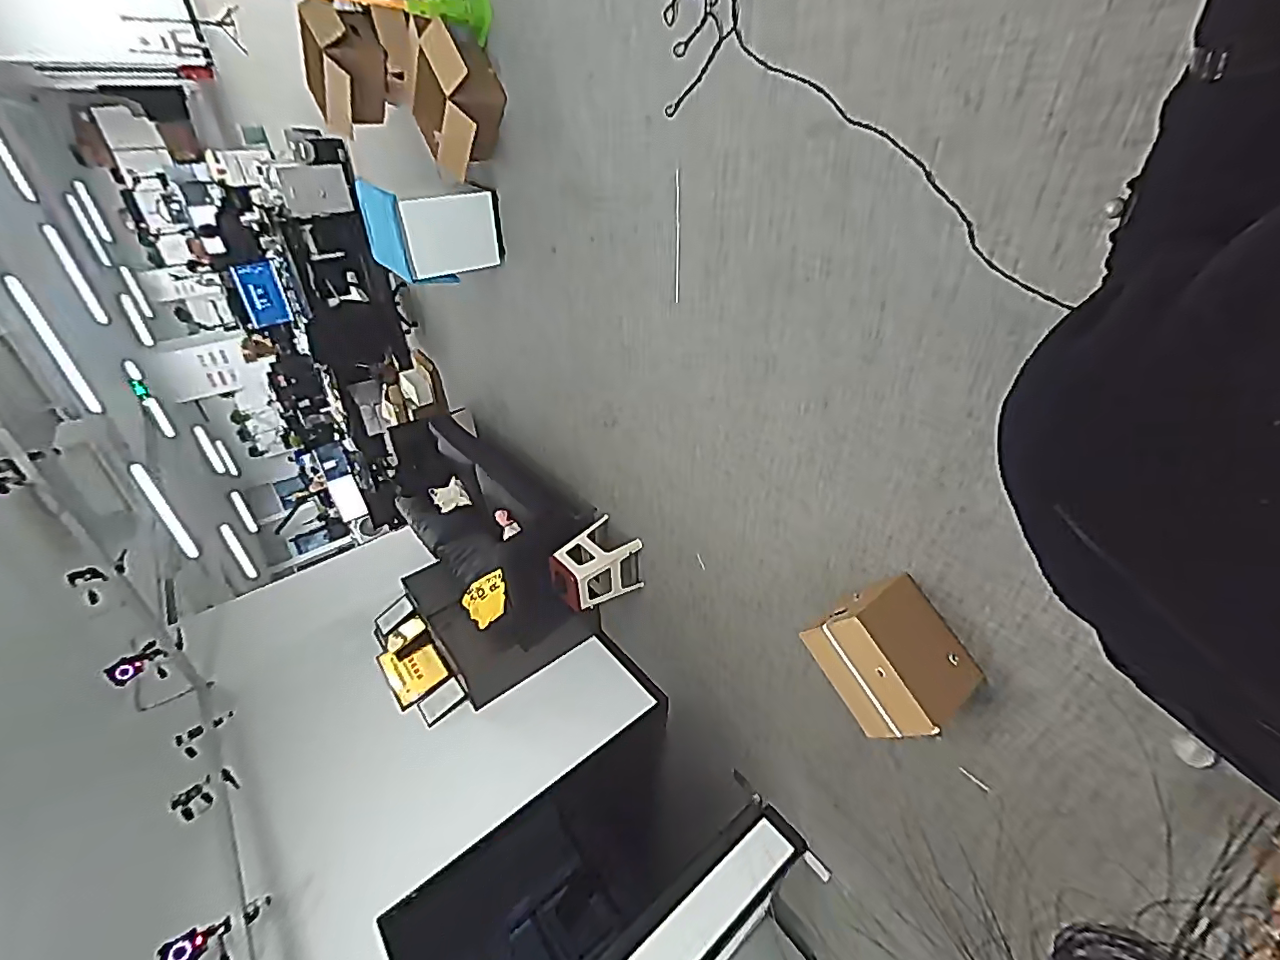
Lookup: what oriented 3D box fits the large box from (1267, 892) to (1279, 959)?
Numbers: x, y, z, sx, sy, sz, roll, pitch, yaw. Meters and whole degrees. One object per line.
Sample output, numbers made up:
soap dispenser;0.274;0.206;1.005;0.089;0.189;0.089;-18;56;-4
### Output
large box;1.541;0.894;1.025;0.408;0.320;0.320;19;128;49
